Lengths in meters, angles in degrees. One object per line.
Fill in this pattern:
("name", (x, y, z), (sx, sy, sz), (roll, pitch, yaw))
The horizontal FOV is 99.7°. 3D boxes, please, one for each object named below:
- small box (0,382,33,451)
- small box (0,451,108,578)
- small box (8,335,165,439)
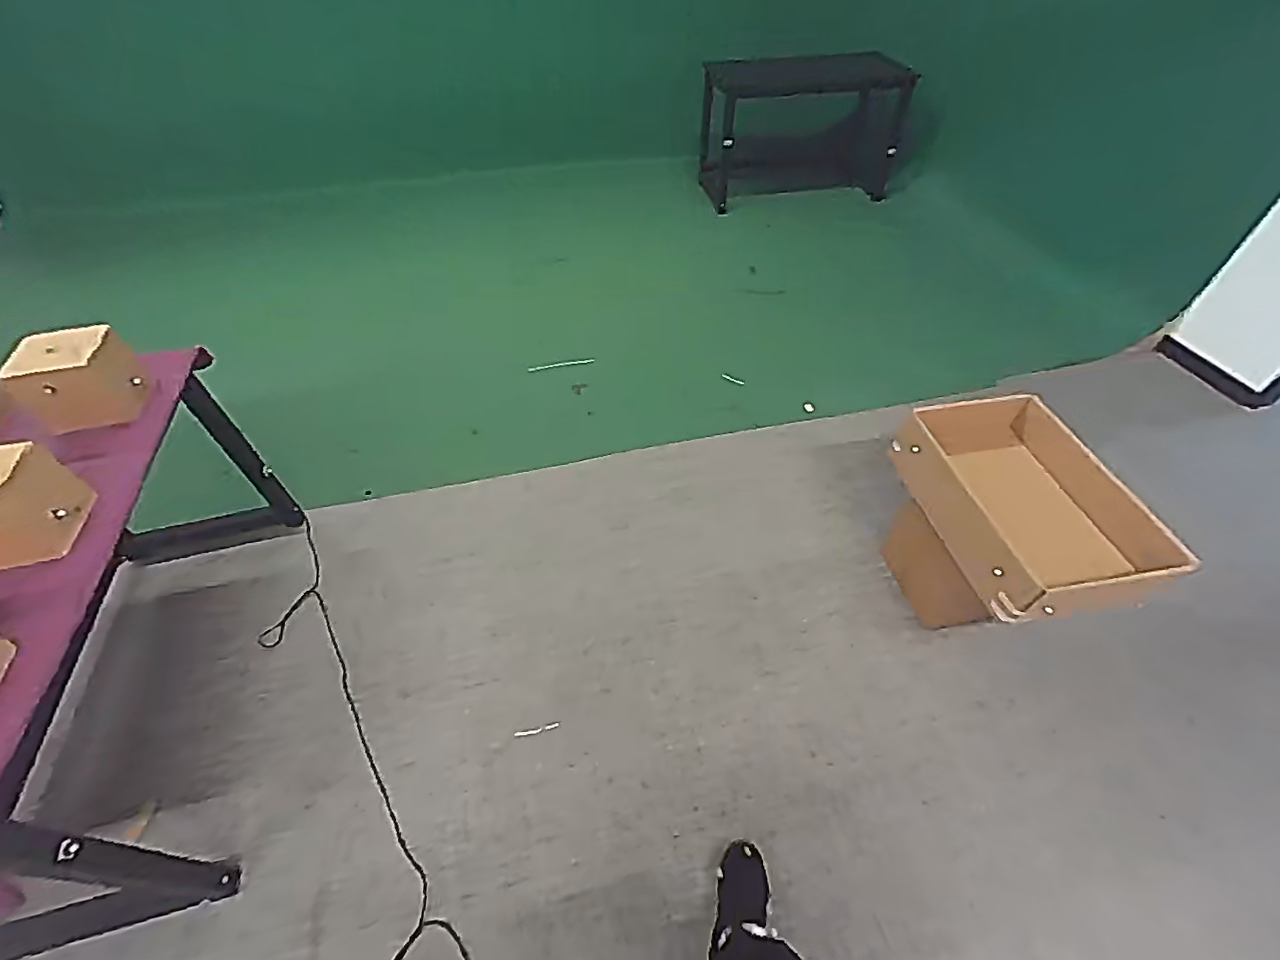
("small box", (-1.610, -0.154, 1.255), (0.179, 0.176, 0.168), (-11, 50, -7))
("small box", (-1.213, 0.073, 1.045), (0.179, 0.176, 0.168), (-12, 49, -7))
("small box", (-1.309, -0.219, 1.296), (0.179, 0.176, 0.168), (-13, 51, -9))
